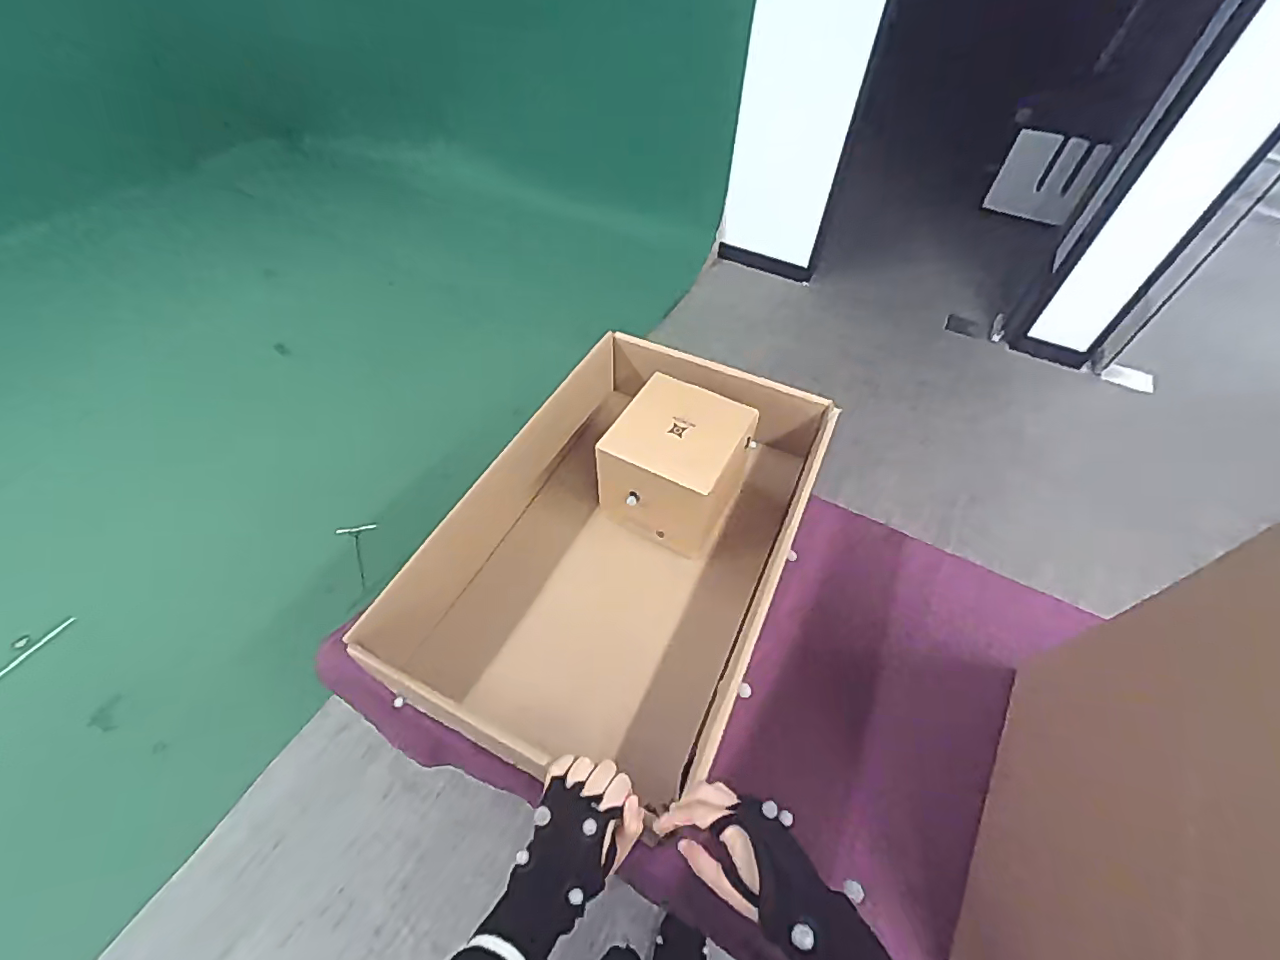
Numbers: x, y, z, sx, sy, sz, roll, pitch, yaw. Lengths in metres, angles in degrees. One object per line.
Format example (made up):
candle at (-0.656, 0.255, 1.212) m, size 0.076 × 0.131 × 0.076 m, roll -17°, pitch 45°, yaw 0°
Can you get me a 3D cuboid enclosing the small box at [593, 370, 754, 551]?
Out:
small box at (0.051, -0.025, 0.798) m, size 0.168 × 0.176 × 0.179 m, roll 24°, pitch 56°, yaw 17°
